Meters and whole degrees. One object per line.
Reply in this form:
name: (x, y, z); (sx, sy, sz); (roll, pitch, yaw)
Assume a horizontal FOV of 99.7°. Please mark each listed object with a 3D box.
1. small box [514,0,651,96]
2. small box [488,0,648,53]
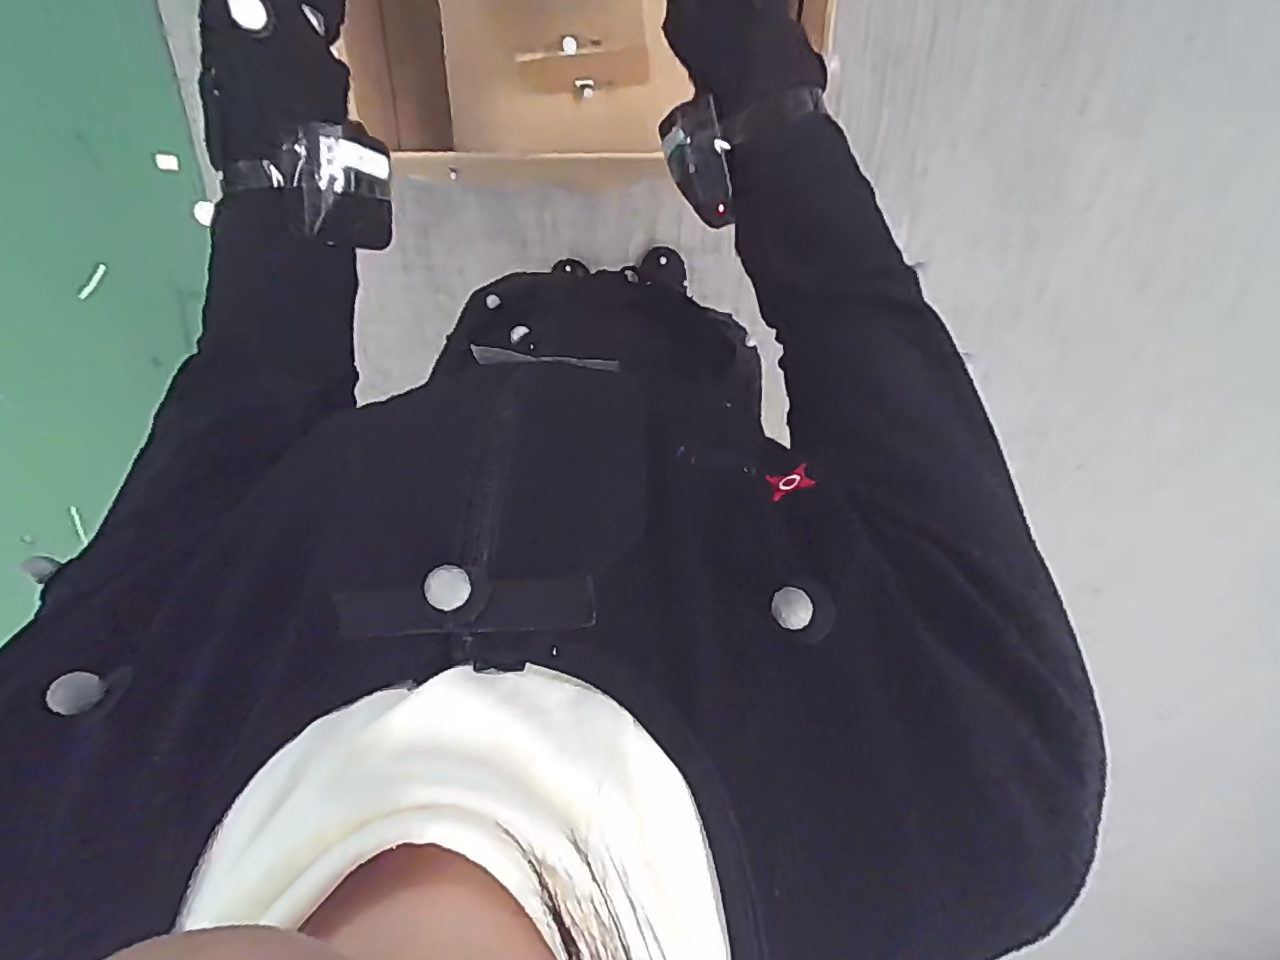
small box: (-0.073, -0.626, 0.694); (0.168, 0.176, 0.179); (-3, 113, 4)
small box: (-0.078, -0.567, 0.542); (0.168, 0.176, 0.179); (-1, 113, 4)
